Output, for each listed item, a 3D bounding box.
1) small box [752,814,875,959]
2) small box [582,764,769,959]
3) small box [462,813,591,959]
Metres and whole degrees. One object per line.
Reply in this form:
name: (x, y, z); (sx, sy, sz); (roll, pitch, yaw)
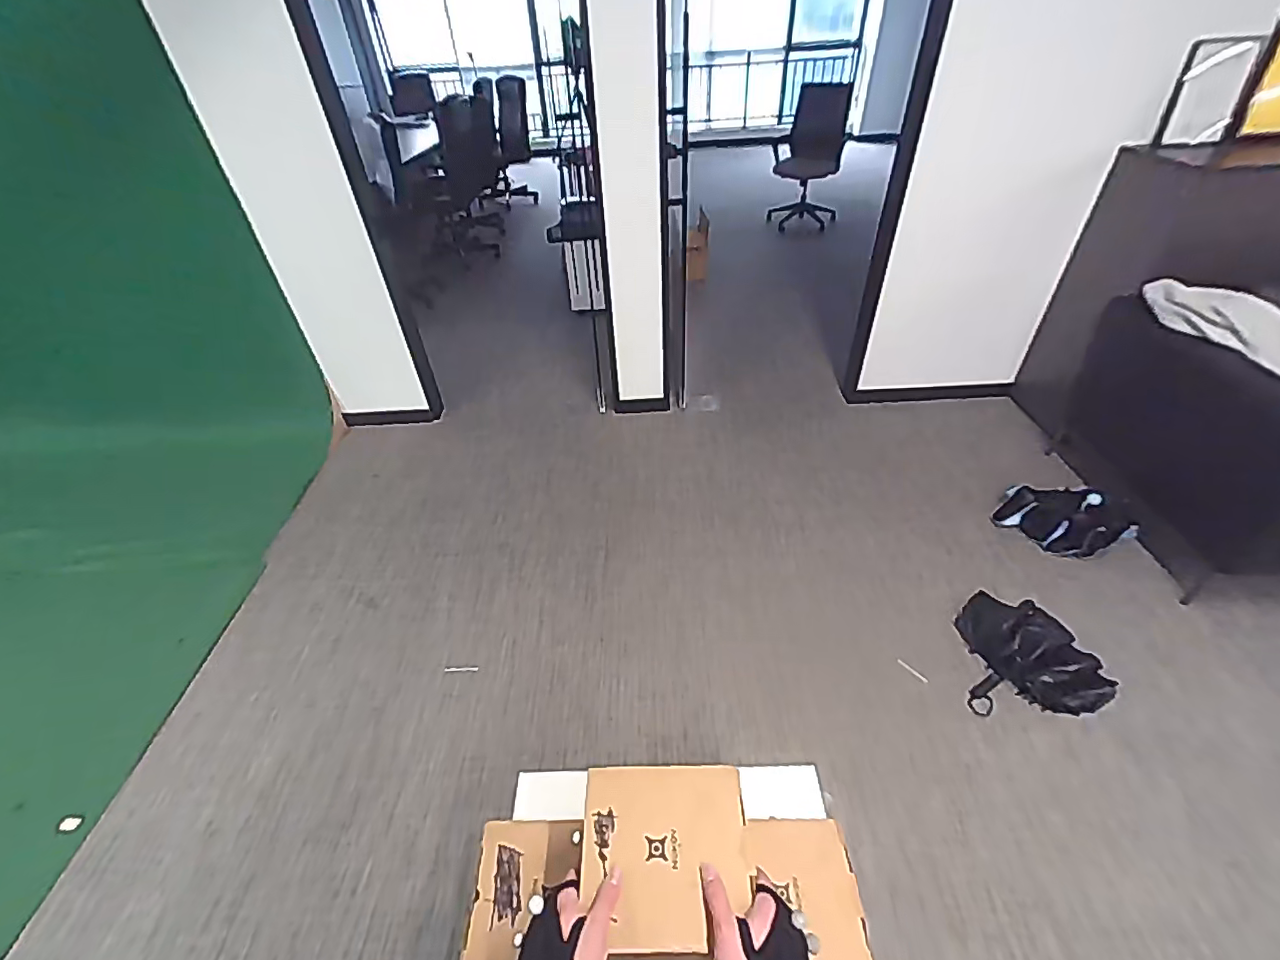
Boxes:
small box: (0.183, 0.560, 0.714); (0.179, 0.176, 0.168); (-1, 41, 2)
small box: (0.033, 0.439, 0.611); (0.179, 0.176, 0.168); (0, 42, 0)
small box: (-0.116, 0.562, 0.717); (0.179, 0.176, 0.168); (0, 42, -1)
